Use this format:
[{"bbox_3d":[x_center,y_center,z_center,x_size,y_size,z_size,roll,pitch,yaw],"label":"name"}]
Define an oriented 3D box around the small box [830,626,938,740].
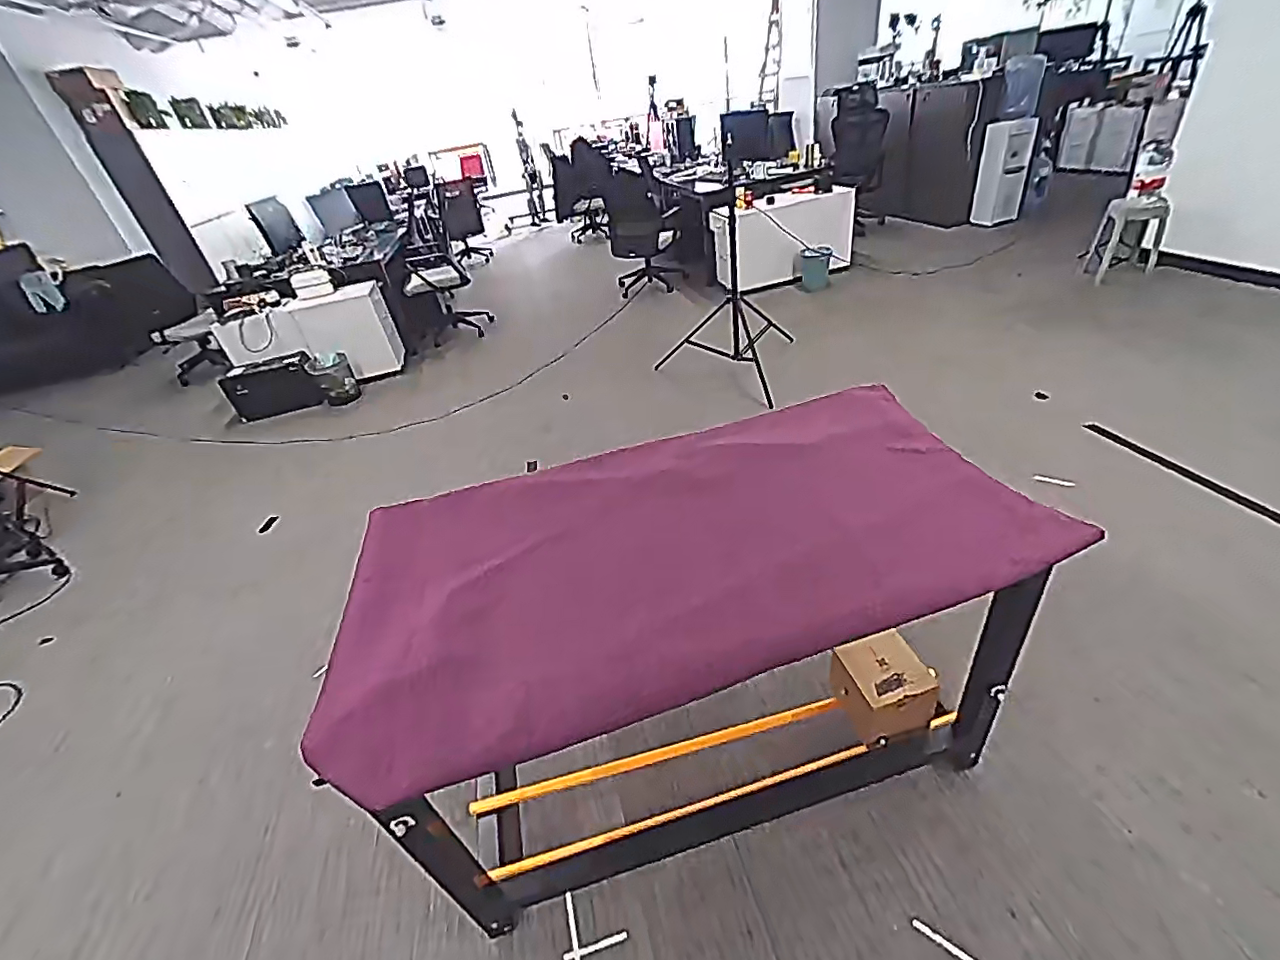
[{"bbox_3d":[0.566,0.485,1.276,0.168,0.176,0.179,-15,35,-6],"label":"small box"}]
